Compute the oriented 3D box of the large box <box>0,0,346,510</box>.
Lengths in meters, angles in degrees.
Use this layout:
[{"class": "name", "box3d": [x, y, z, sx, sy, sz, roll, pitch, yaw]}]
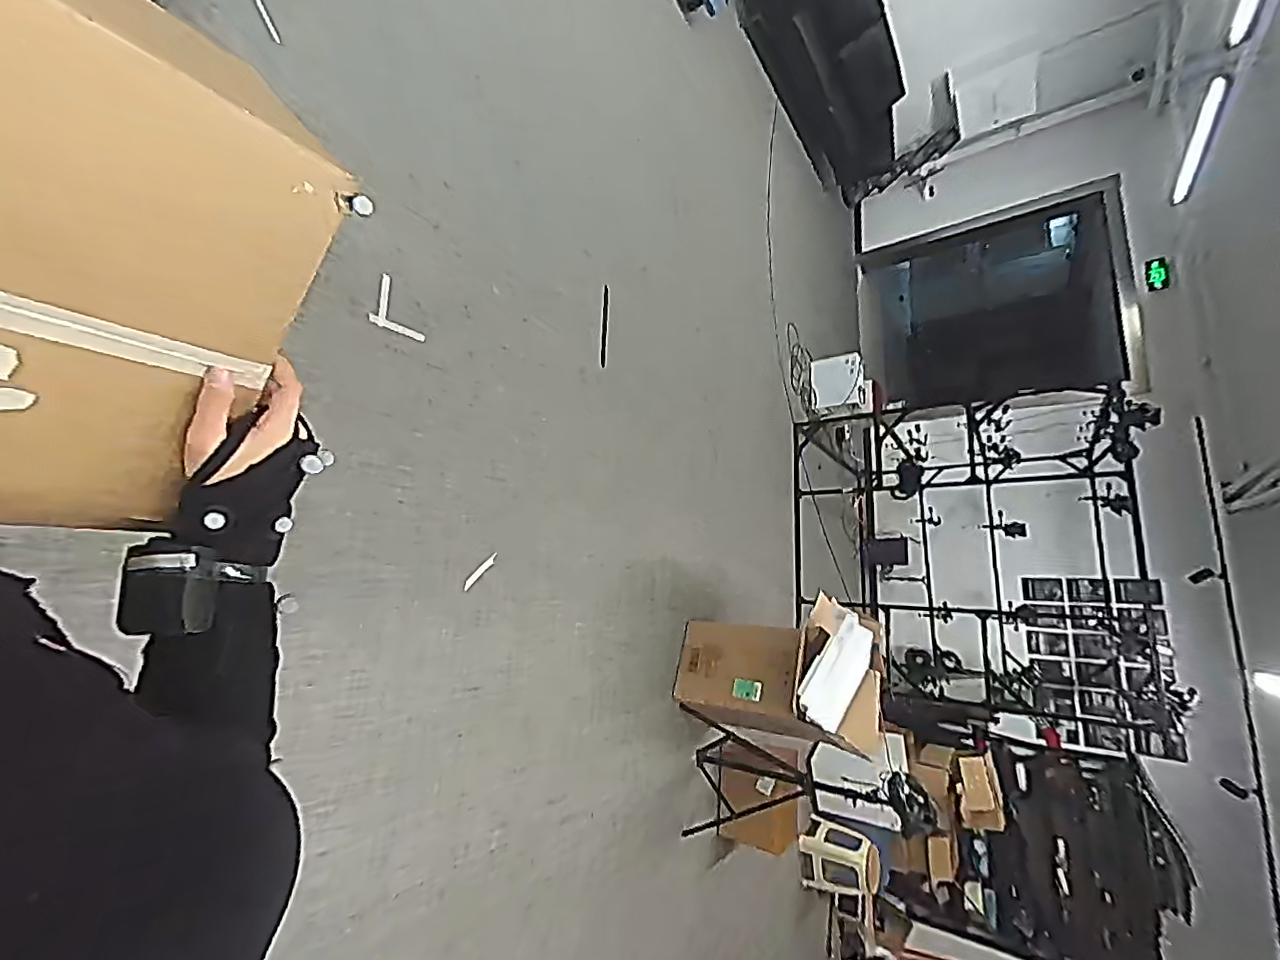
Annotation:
[{"class": "large box", "box3d": [-0.484, -0.208, 0.319, 0.320, 0.320, 0.408, -51, 149, 17]}]
